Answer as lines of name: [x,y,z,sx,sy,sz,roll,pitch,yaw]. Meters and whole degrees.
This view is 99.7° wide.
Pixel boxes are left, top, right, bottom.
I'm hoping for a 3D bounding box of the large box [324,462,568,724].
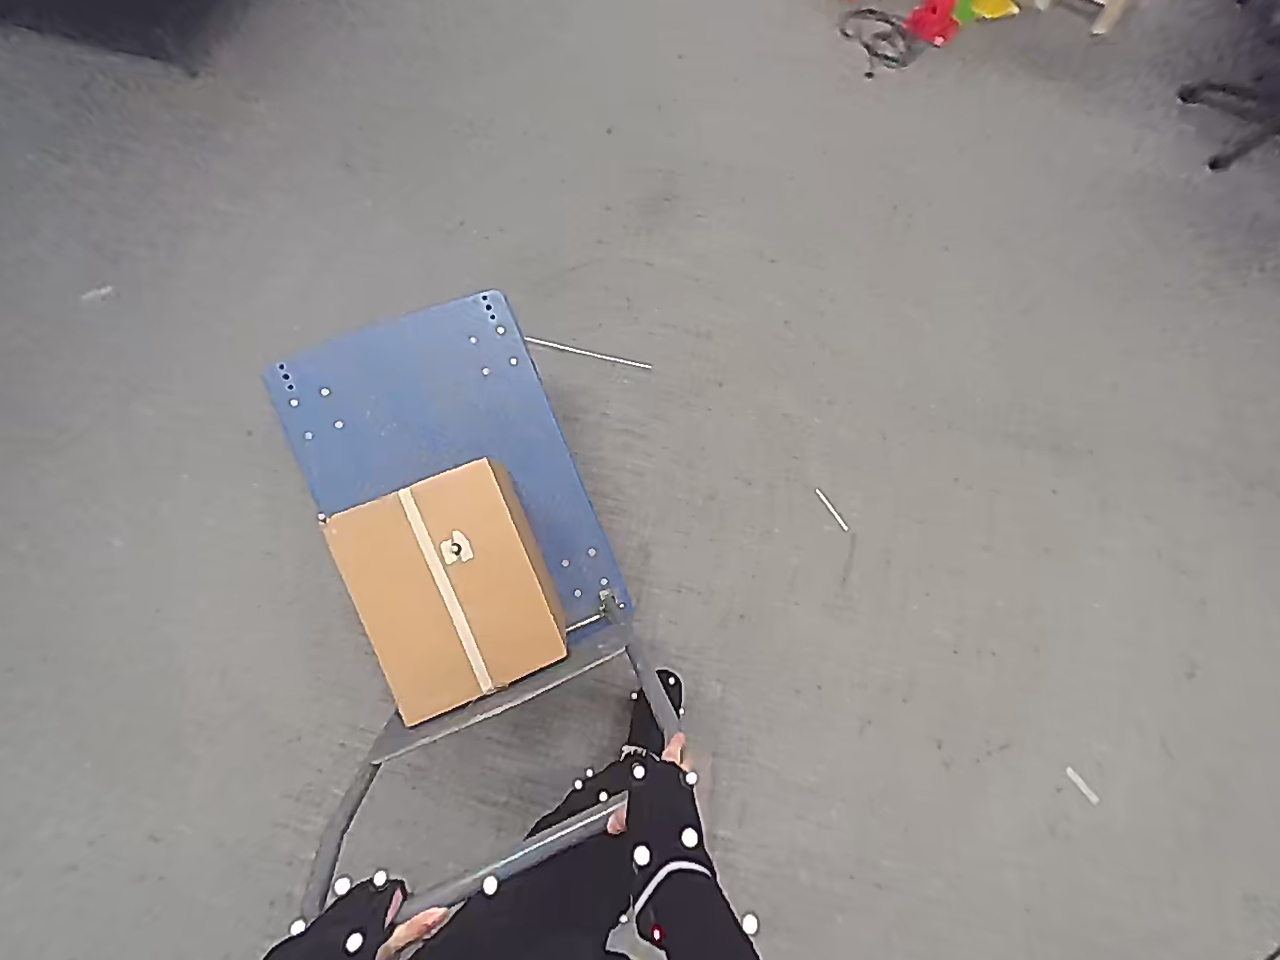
large box: [-0.369,0.210,1.136,0.320,0.320,0.408,-23,92,-9]
